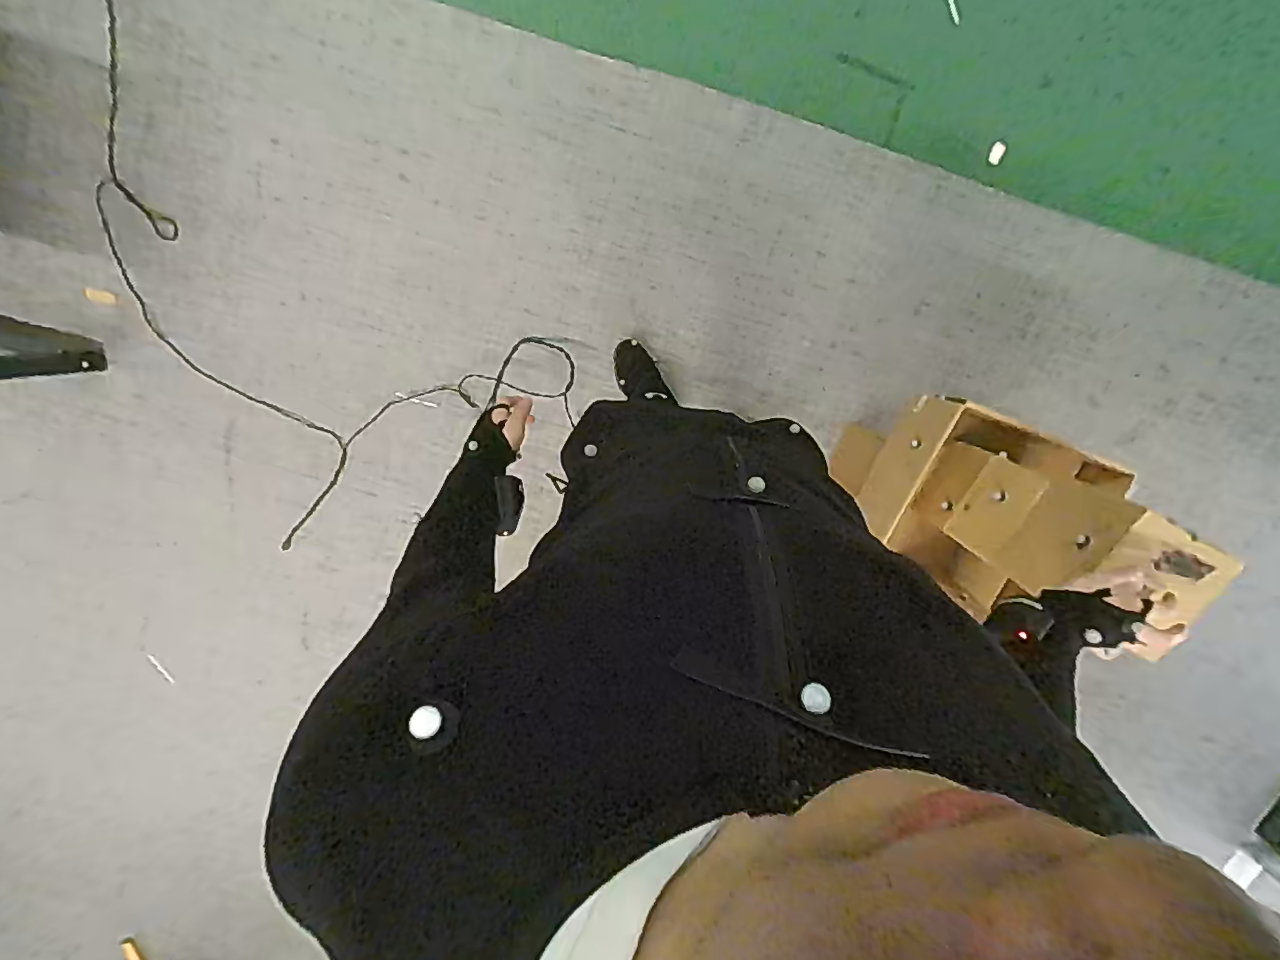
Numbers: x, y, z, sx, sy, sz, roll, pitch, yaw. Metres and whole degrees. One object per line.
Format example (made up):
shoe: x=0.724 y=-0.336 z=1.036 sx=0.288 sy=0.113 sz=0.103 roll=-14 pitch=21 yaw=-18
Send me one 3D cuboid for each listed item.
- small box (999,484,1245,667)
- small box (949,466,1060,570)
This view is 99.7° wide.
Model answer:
small box: x=0.685 y=0.129 z=0.797 sx=0.168 sy=0.176 sz=0.179 roll=27 pitch=105 yaw=-5
small box: x=0.695 y=0.089 z=0.956 sx=0.179 sy=0.176 sz=0.168 roll=24 pitch=105 yaw=-4
